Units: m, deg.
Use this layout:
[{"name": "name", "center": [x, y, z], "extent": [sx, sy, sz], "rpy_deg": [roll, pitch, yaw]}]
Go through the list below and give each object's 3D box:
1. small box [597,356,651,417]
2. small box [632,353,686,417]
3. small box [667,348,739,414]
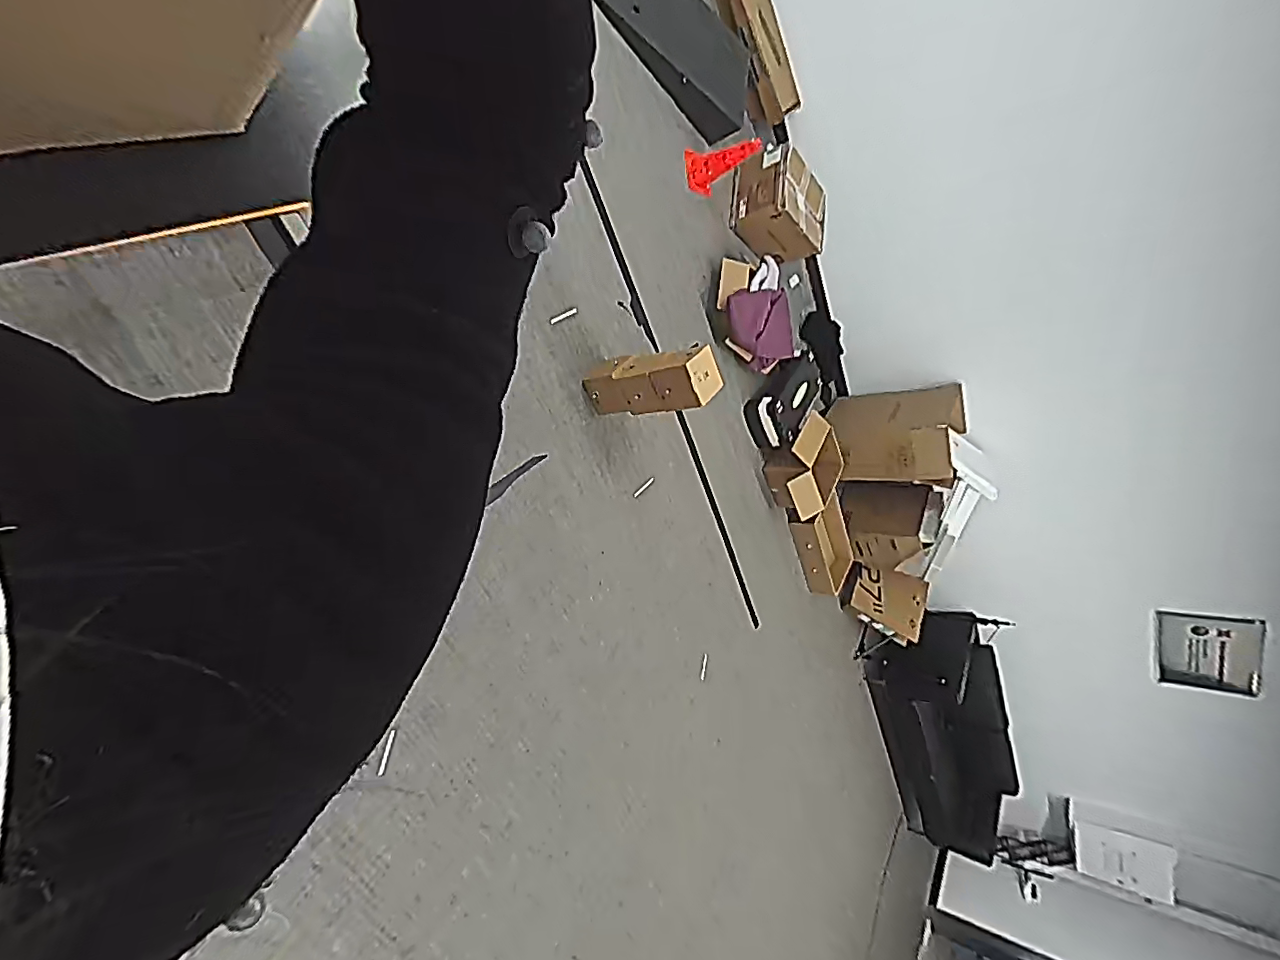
[{"name": "small box", "center": [-0.039, -0.365, 2.126], "extent": [0.179, 0.176, 0.168], "rpy_deg": [-50, 124, -36]}, {"name": "small box", "center": [0.092, -0.352, 2.026], "extent": [0.179, 0.176, 0.168], "rpy_deg": [-52, 125, -36]}, {"name": "small box", "center": [0.223, -0.351, 1.925], "extent": [0.179, 0.176, 0.168], "rpy_deg": [-47, 122, -39]}]
